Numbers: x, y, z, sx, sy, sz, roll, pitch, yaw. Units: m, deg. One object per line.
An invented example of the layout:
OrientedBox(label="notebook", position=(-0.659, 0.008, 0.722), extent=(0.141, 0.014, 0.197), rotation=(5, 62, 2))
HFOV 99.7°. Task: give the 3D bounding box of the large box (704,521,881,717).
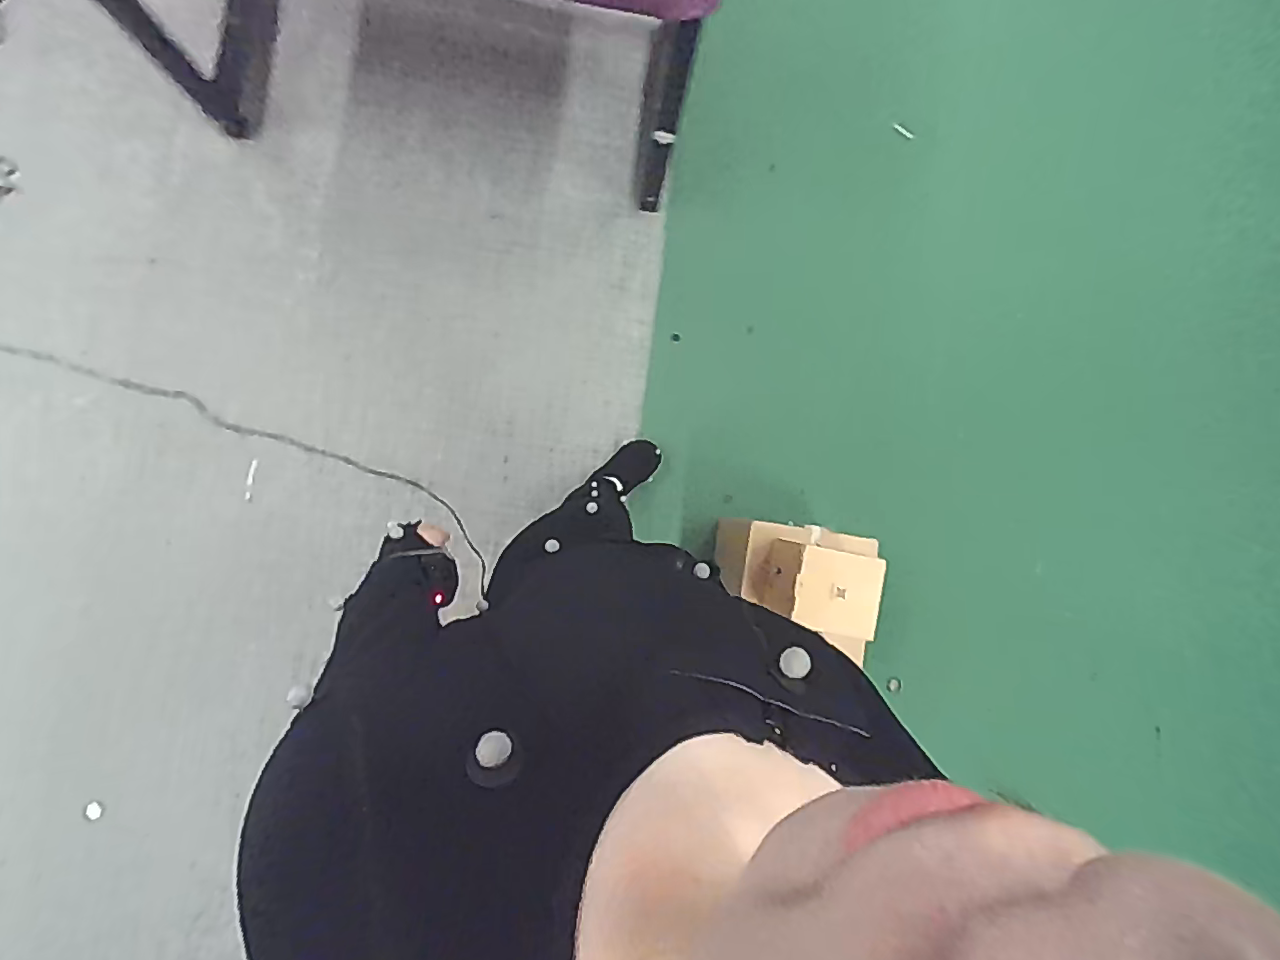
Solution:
OrientedBox(label="large box", position=(0.365, 0.324, 1.369), extent=(0.320, 0.320, 0.408), rotation=(9, 87, -4))

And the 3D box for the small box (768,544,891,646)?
OrientedBox(label="small box", position=(0.388, 0.231, 1.131), extent=(0.179, 0.176, 0.168), rotation=(11, 87, -4))
